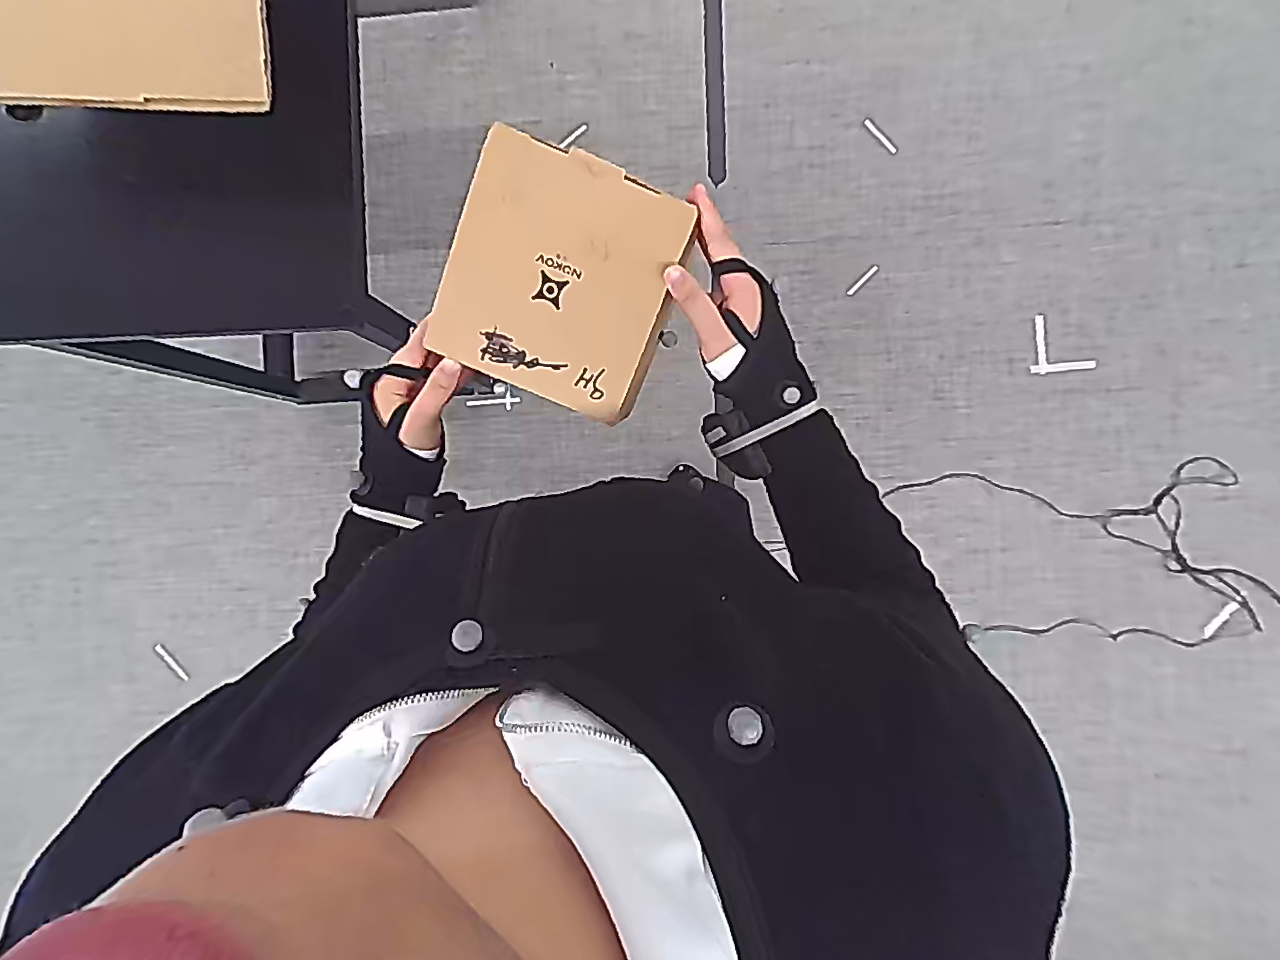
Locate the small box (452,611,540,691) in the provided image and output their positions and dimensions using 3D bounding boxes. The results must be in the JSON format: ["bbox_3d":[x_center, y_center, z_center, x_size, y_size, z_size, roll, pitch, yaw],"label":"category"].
[{"bbox_3d":[-0.376,0.453,1.433,0.179,0.176,0.168,-6,90,1],"label":"small box"}]

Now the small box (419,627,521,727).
[{"bbox_3d":[-0.388,0.454,1.270,0.179,0.176,0.168,-9,88,3],"label":"small box"}]

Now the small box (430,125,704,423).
[{"bbox_3d":[-0.055,-0.166,0.492,0.168,0.176,0.179,23,99,0],"label":"small box"}]
